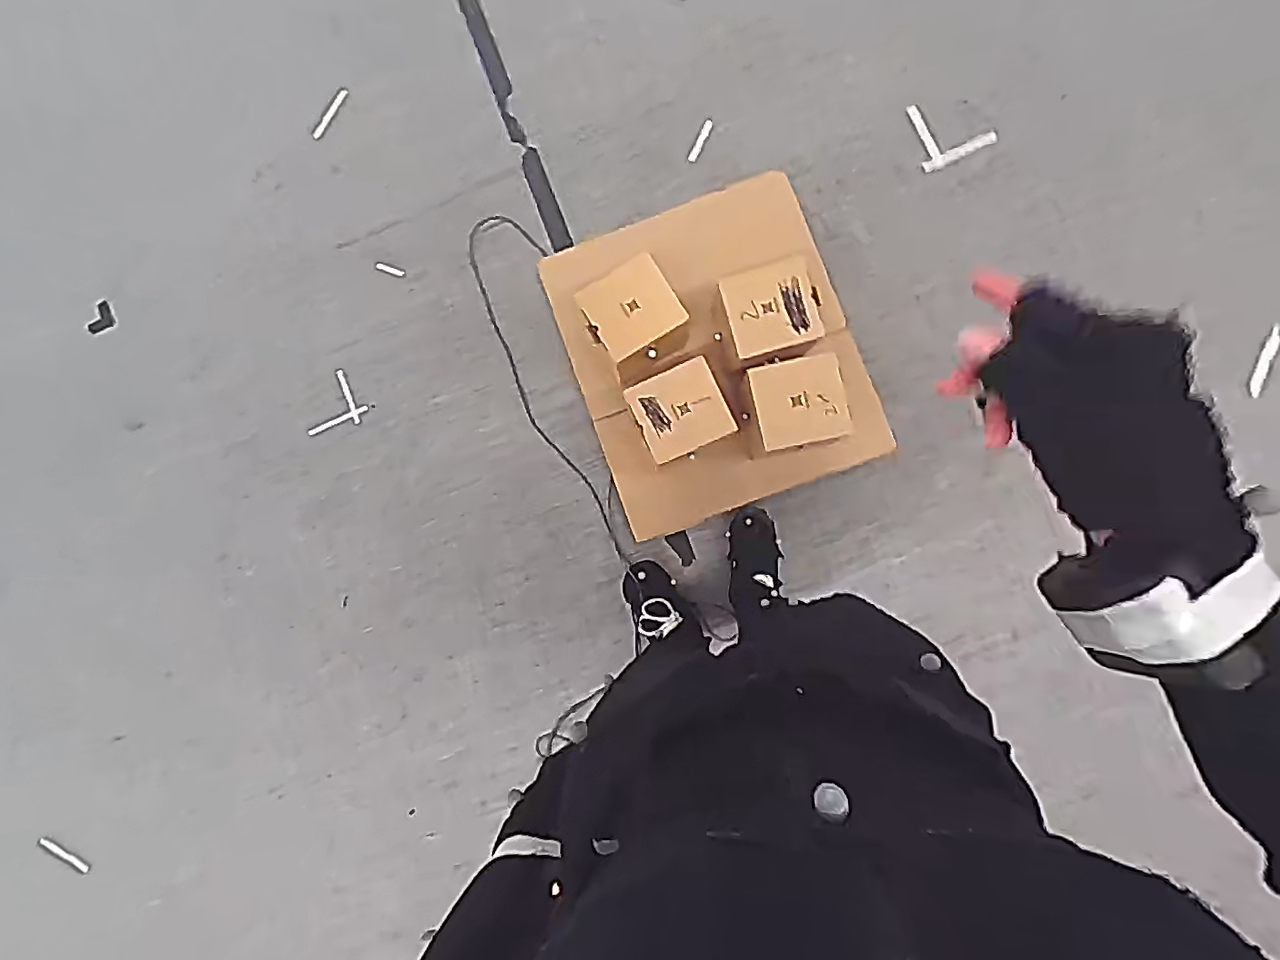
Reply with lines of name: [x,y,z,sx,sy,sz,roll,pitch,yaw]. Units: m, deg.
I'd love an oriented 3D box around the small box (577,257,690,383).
small box: [-0.010,-0.332,1.155,0.179,0.176,0.168,-32,85,2]
